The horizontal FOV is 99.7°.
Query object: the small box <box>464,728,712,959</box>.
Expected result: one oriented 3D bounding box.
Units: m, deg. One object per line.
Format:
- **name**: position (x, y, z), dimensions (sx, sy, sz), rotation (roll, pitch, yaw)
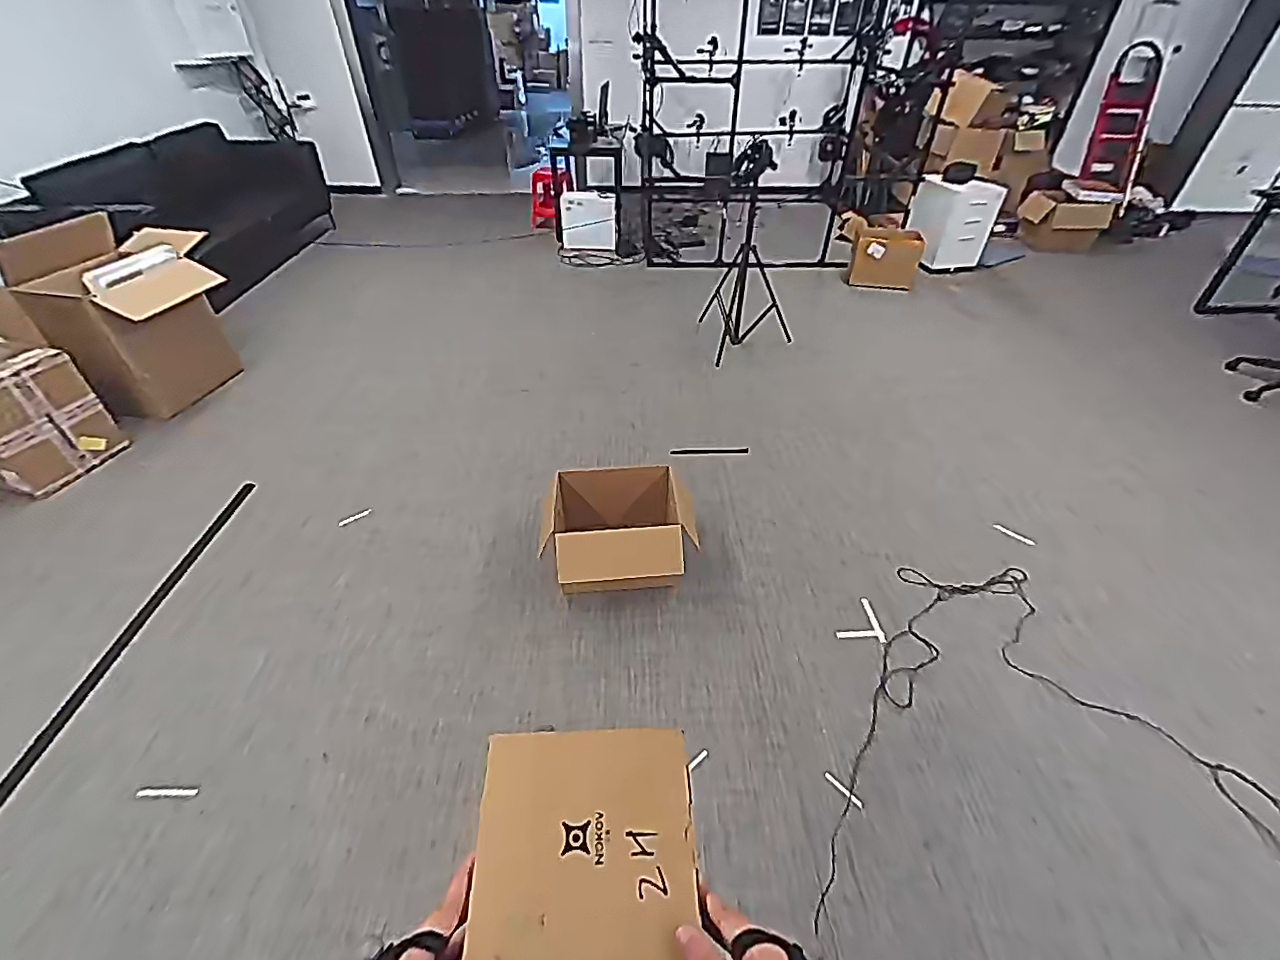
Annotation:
- **small box**: position (-0.039, 0.335, 0.484), dimensions (0.179, 0.176, 0.168), rotation (0, 50, -3)
